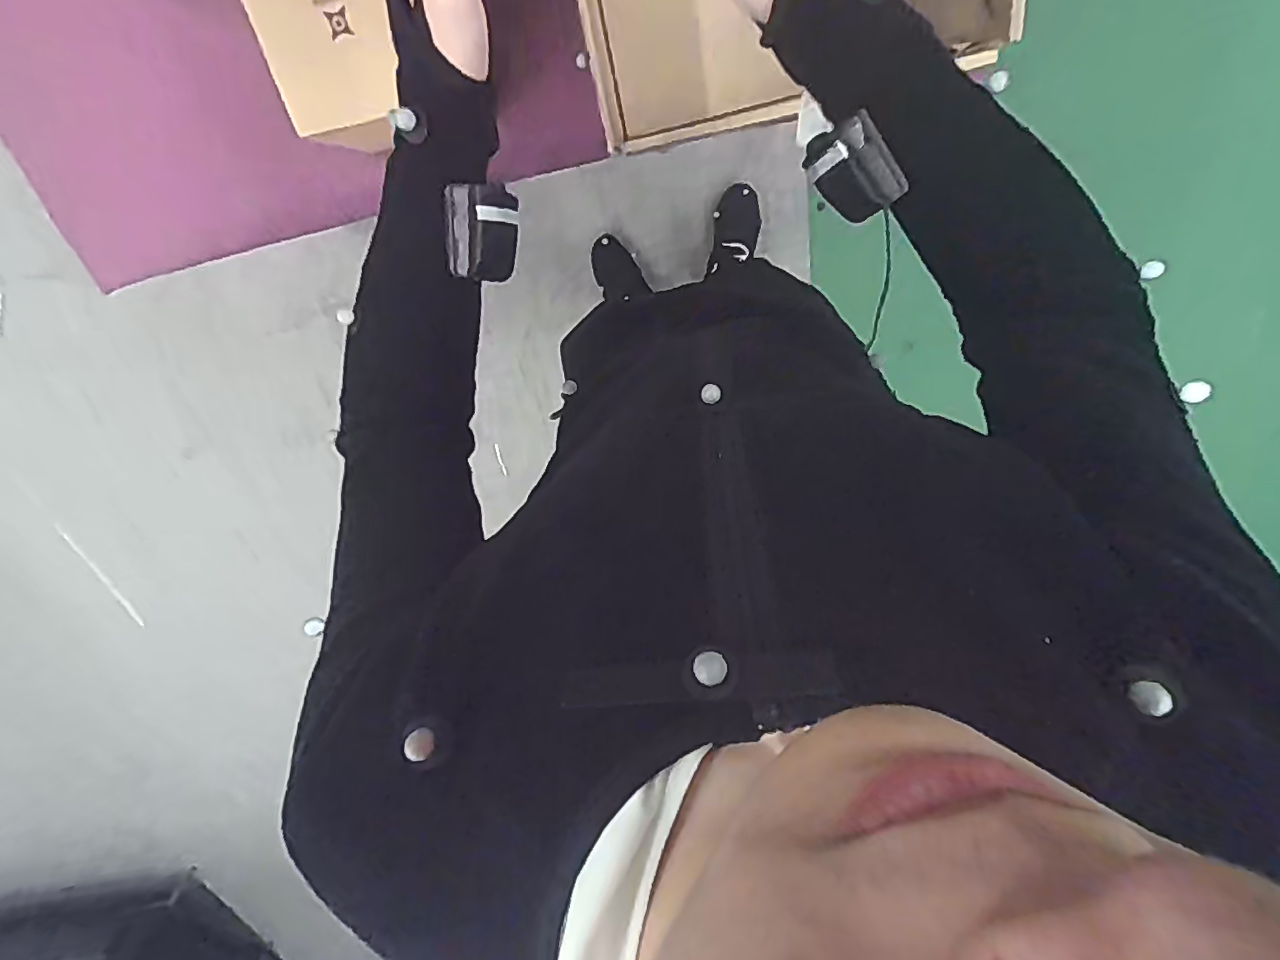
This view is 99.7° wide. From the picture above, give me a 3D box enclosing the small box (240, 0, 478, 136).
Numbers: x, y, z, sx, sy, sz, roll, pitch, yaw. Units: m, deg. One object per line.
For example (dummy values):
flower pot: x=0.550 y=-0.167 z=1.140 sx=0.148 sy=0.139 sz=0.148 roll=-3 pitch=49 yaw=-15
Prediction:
small box: x=-0.290 y=-0.482 z=0.574 sx=0.168 sy=0.176 sz=0.179 roll=-10 pitch=118 yaw=3
